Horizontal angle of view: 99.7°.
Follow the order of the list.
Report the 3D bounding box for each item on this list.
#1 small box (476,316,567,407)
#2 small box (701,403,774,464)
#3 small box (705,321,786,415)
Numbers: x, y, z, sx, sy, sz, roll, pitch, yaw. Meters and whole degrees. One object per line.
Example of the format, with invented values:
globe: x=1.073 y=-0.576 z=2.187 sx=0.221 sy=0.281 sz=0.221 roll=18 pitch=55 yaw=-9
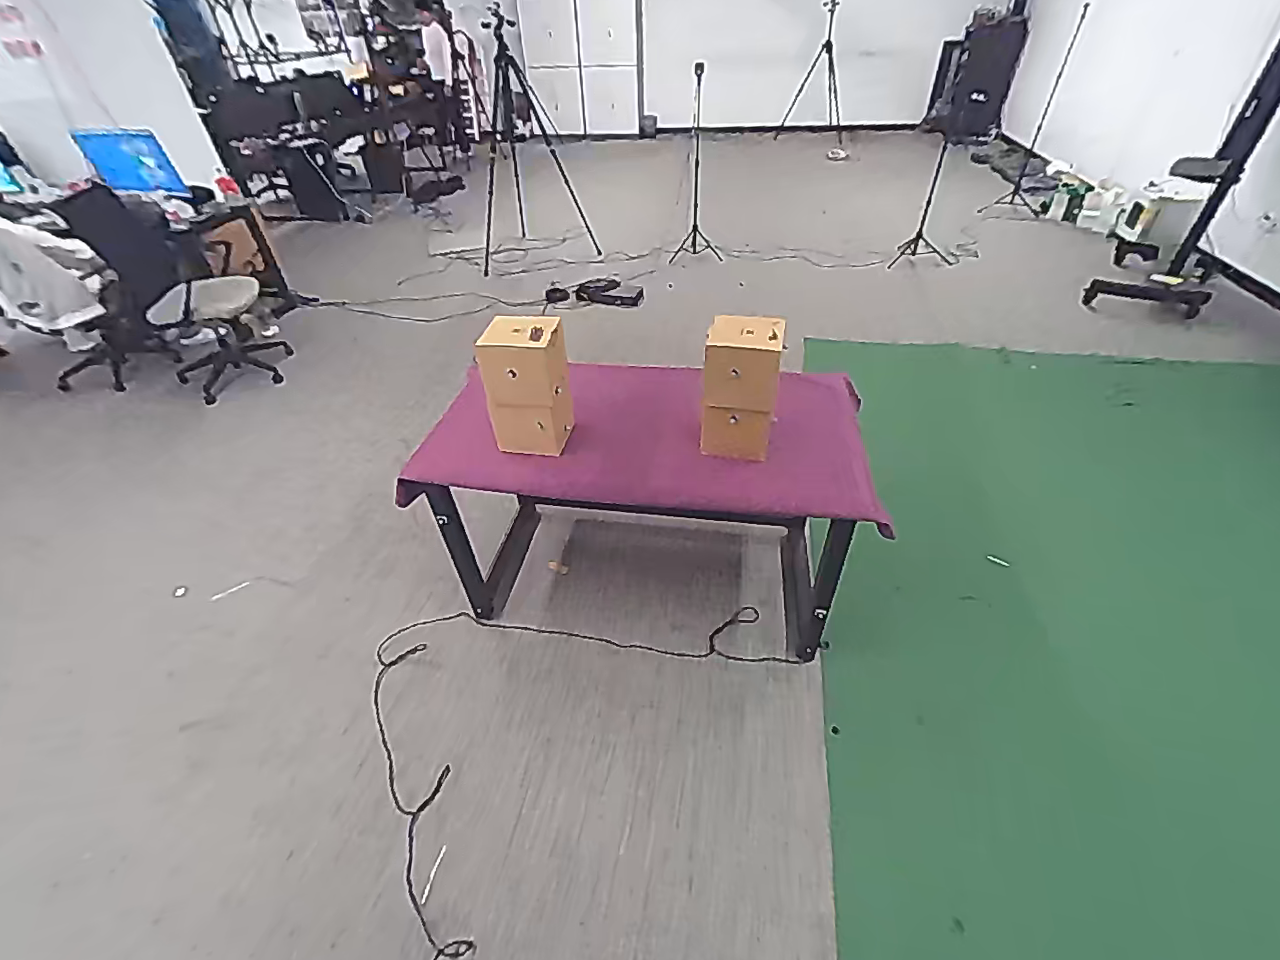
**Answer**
small box: x=-0.289 y=-0.298 z=1.372 sx=0.179 sy=0.176 sz=0.168 roll=4 pitch=41 yaw=6
small box: x=0.264 y=-0.160 z=1.450 sx=0.179 sy=0.176 sz=0.168 roll=8 pitch=42 yaw=12
small box: x=0.258 y=-0.277 z=1.334 sx=0.179 sy=0.176 sz=0.168 roll=8 pitch=43 yaw=13
